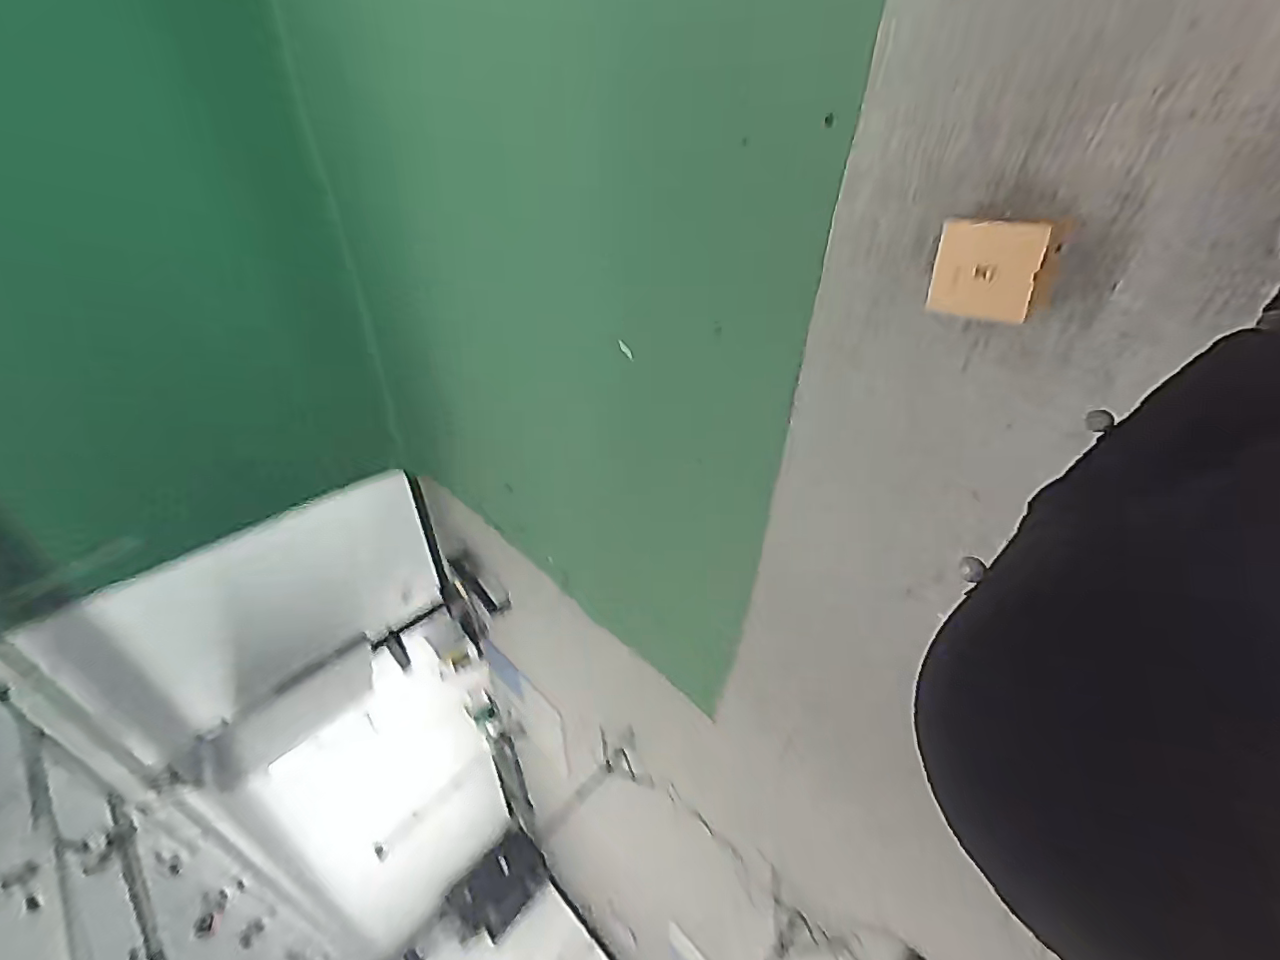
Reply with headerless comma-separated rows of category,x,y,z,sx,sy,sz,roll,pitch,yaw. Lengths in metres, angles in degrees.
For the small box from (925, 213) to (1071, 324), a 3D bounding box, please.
small box,0.684,-0.411,1.036,0.179,0.176,0.168,25,131,39
